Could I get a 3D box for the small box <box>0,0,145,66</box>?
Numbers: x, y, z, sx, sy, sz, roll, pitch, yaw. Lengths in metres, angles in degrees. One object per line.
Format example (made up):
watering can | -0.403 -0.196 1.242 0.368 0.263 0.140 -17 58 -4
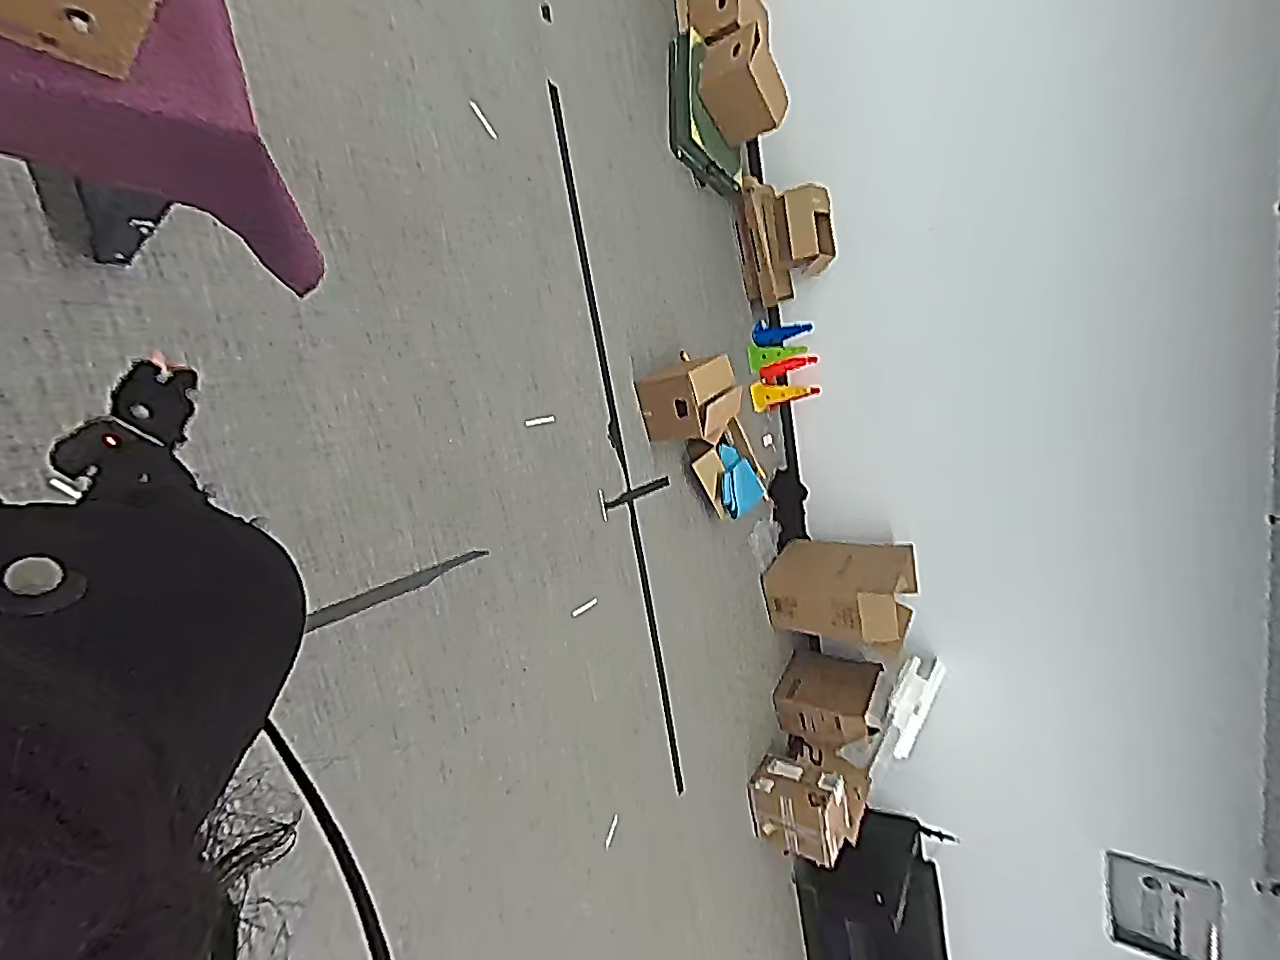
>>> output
small box | -0.593 -0.550 0.510 0.168 0.176 0.179 -8 93 -54
